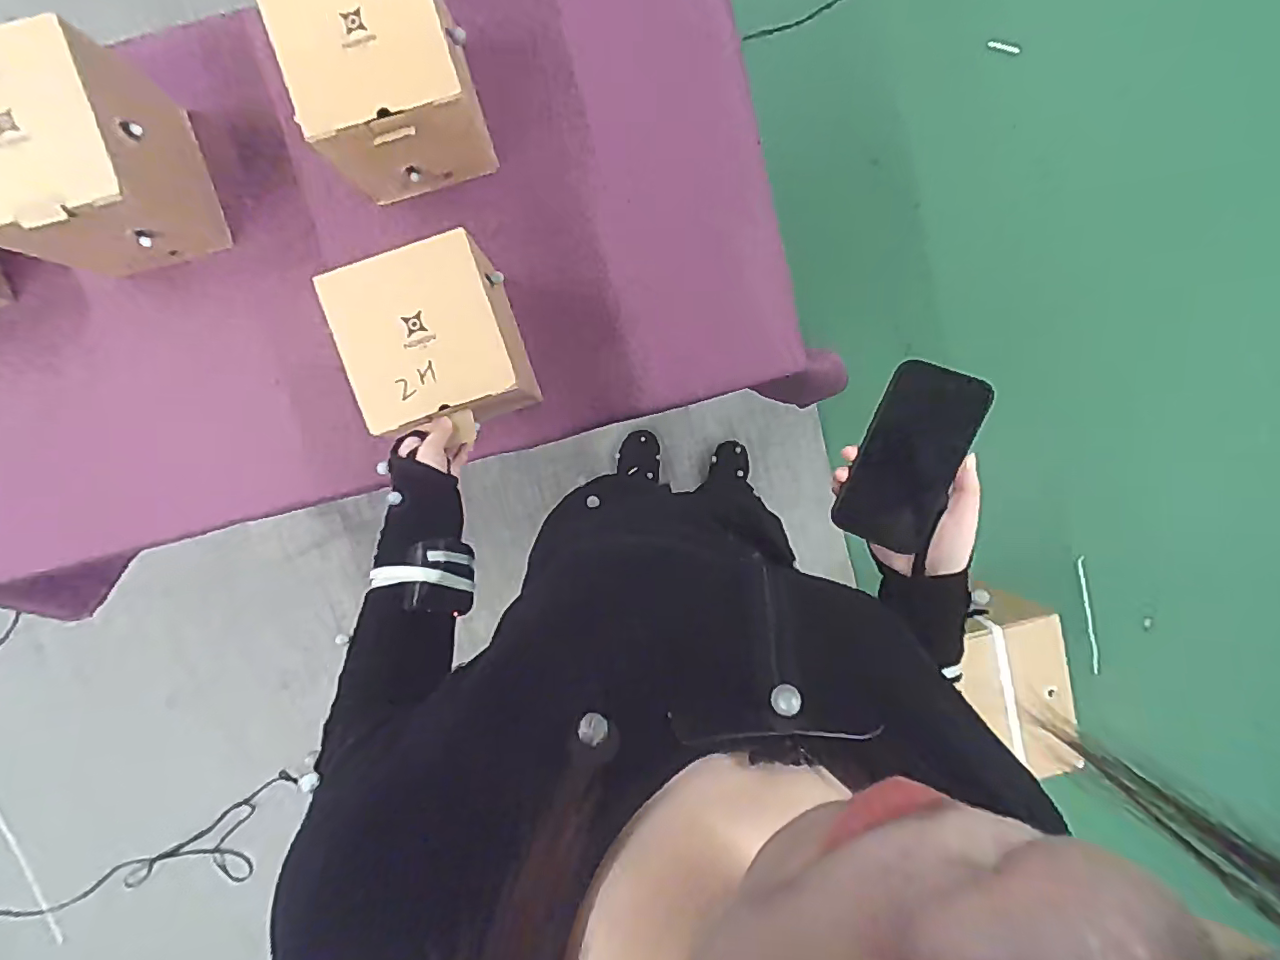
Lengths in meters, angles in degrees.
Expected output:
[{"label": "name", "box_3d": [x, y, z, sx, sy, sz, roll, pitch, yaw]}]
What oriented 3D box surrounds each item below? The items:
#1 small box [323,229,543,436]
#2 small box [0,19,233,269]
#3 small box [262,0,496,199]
[{"label": "small box", "box_3d": [-0.228, -0.159, 0.643, 0.168, 0.176, 0.179, -19, 93, 1]}, {"label": "small box", "box_3d": [-0.616, -0.355, 0.613, 0.168, 0.176, 0.179, -15, 97, -1]}, {"label": "small box", "box_3d": [-0.280, -0.456, 0.612, 0.168, 0.176, 0.179, -17, 98, 0]}]
